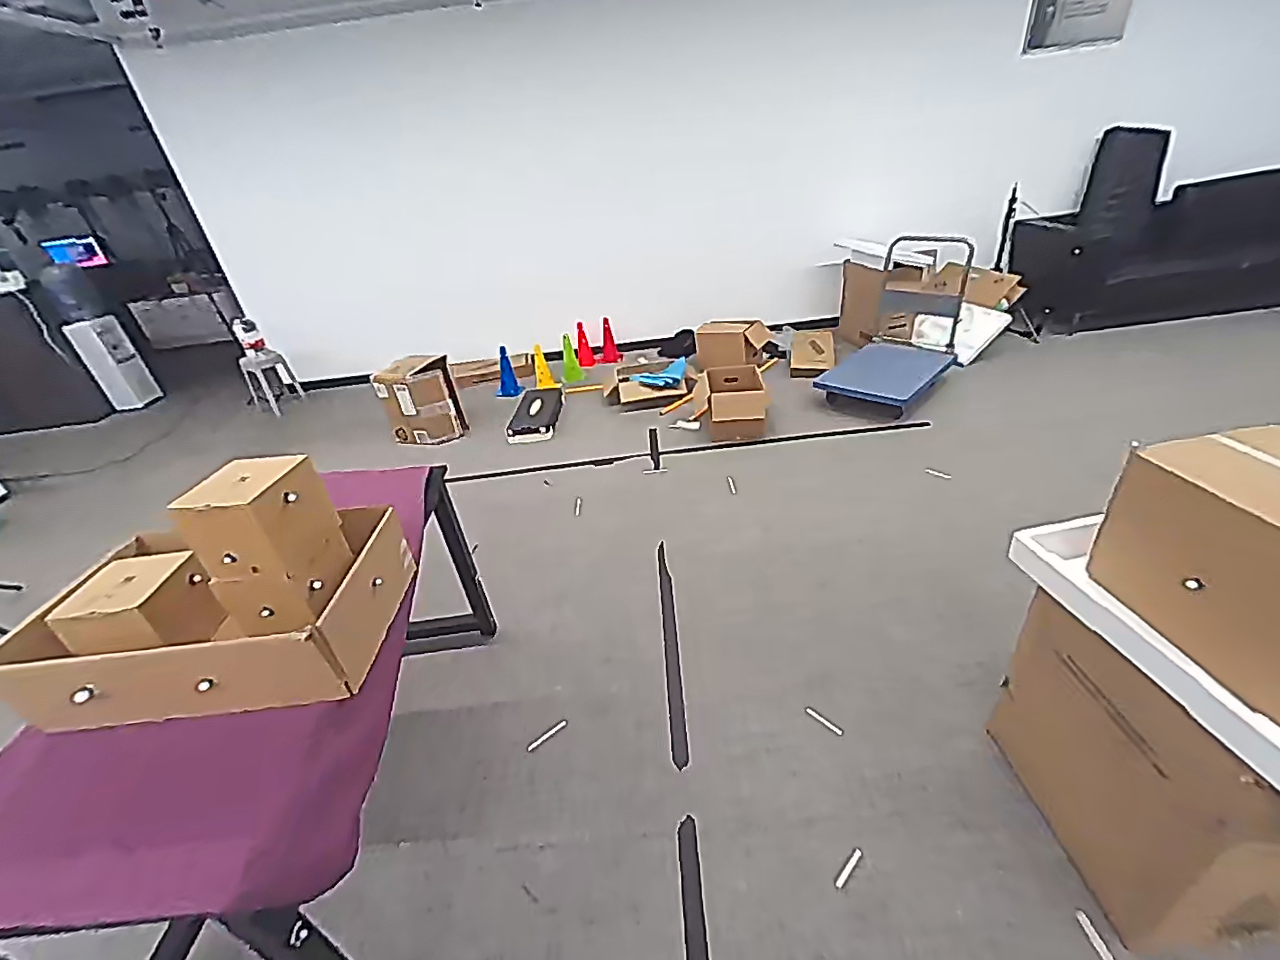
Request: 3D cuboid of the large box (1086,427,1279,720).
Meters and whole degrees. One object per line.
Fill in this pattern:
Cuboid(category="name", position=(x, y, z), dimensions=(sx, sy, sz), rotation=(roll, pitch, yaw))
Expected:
Cuboid(category="large box", position=(1.121, 0.146, 0.944), dimensions=(0.320, 0.320, 0.408), rotation=(-8, 30, -3))

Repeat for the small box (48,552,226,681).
Cuboid(category="small box", position=(-0.976, 0.269, 1.076), dimensions=(0.168, 0.176, 0.179), rotation=(-8, 31, -2))
